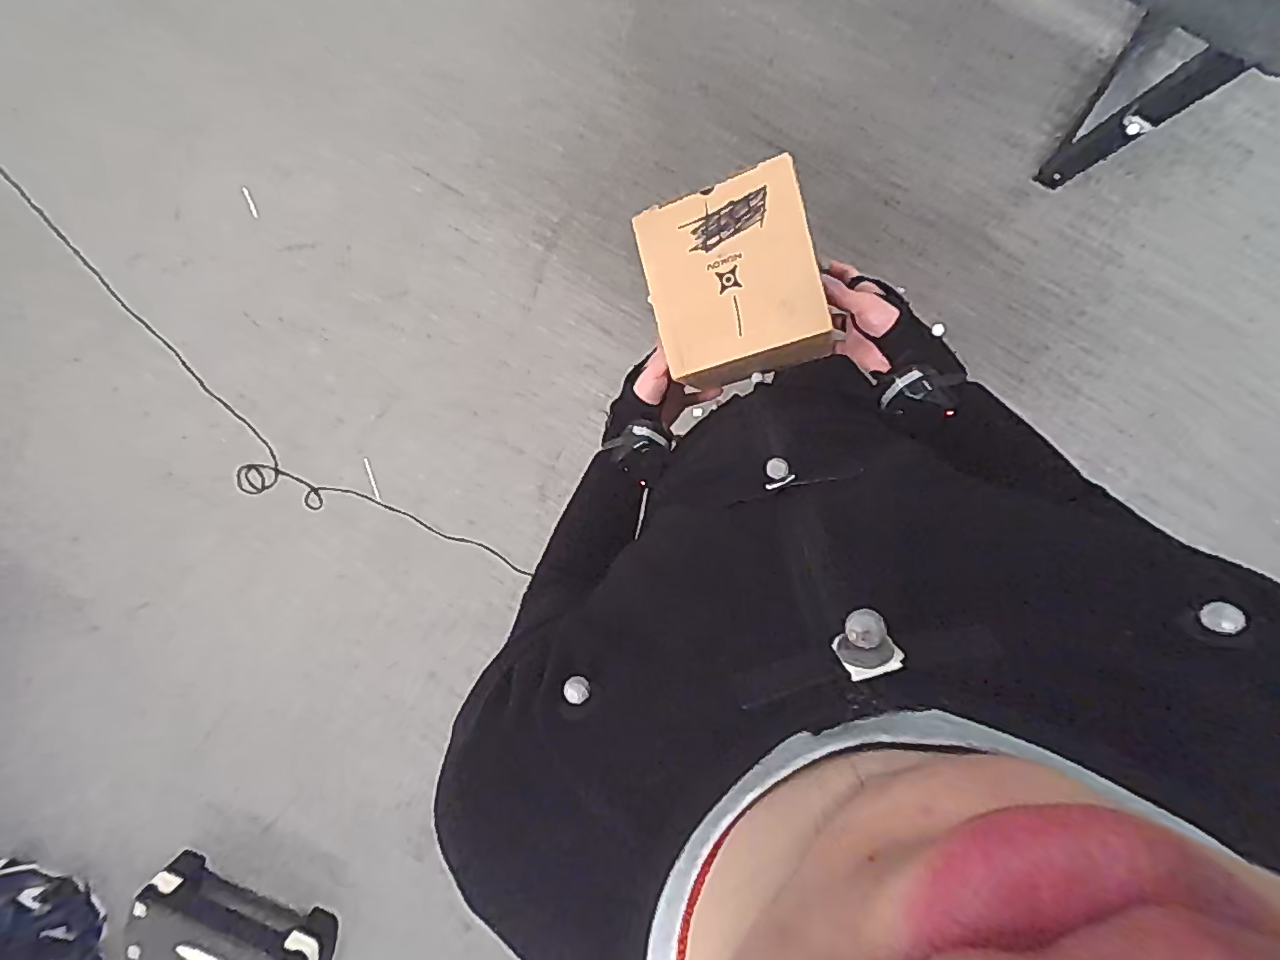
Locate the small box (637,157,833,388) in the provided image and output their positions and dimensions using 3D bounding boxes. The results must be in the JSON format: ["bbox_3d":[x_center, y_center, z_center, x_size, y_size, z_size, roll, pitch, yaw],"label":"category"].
[{"bbox_3d":[0.114,-0.214,0.615,0.168,0.176,0.179,-14,90,19],"label":"small box"}]
